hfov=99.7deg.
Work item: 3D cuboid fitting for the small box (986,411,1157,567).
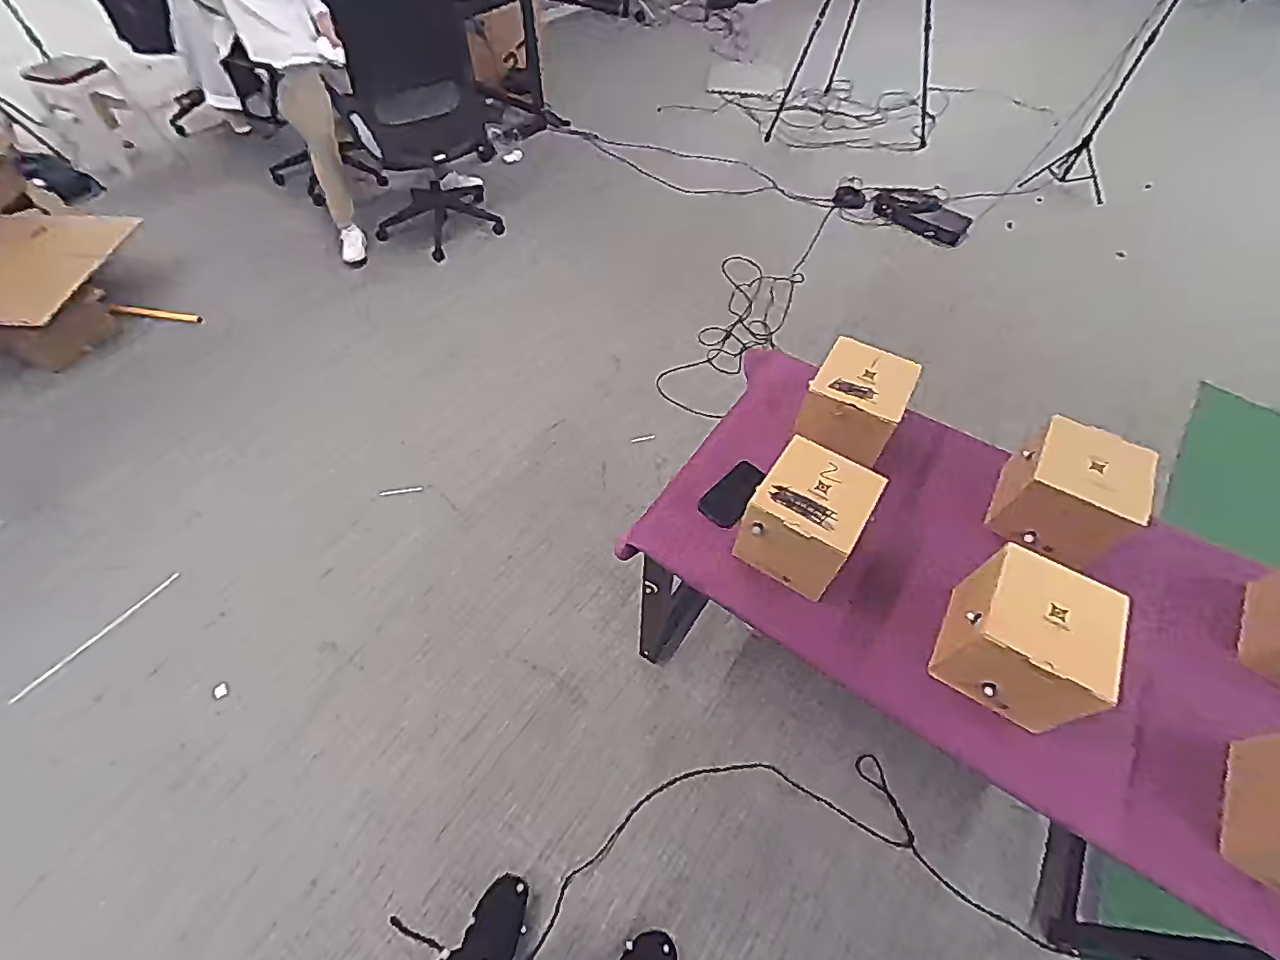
[{"bbox_3d":[0.753,0.018,0.957,0.168,0.176,0.179,29,60,19],"label":"small box"}]

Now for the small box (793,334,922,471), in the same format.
[{"bbox_3d":[0.419,-0.149,1.065,0.168,0.176,0.179,27,58,16],"label":"small box"}]

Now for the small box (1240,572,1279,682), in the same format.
[{"bbox_3d":[1.076,0.228,0.814,0.168,0.176,0.179,32,60,21],"label":"small box"}]

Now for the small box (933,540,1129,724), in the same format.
[{"bbox_3d":[0.569,0.229,0.805,0.168,0.176,0.179,29,59,17],"label":"small box"}]

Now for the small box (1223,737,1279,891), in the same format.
[{"bbox_3d":[0.884,0.432,0.663,0.168,0.176,0.179,32,60,21],"label":"small box"}]
